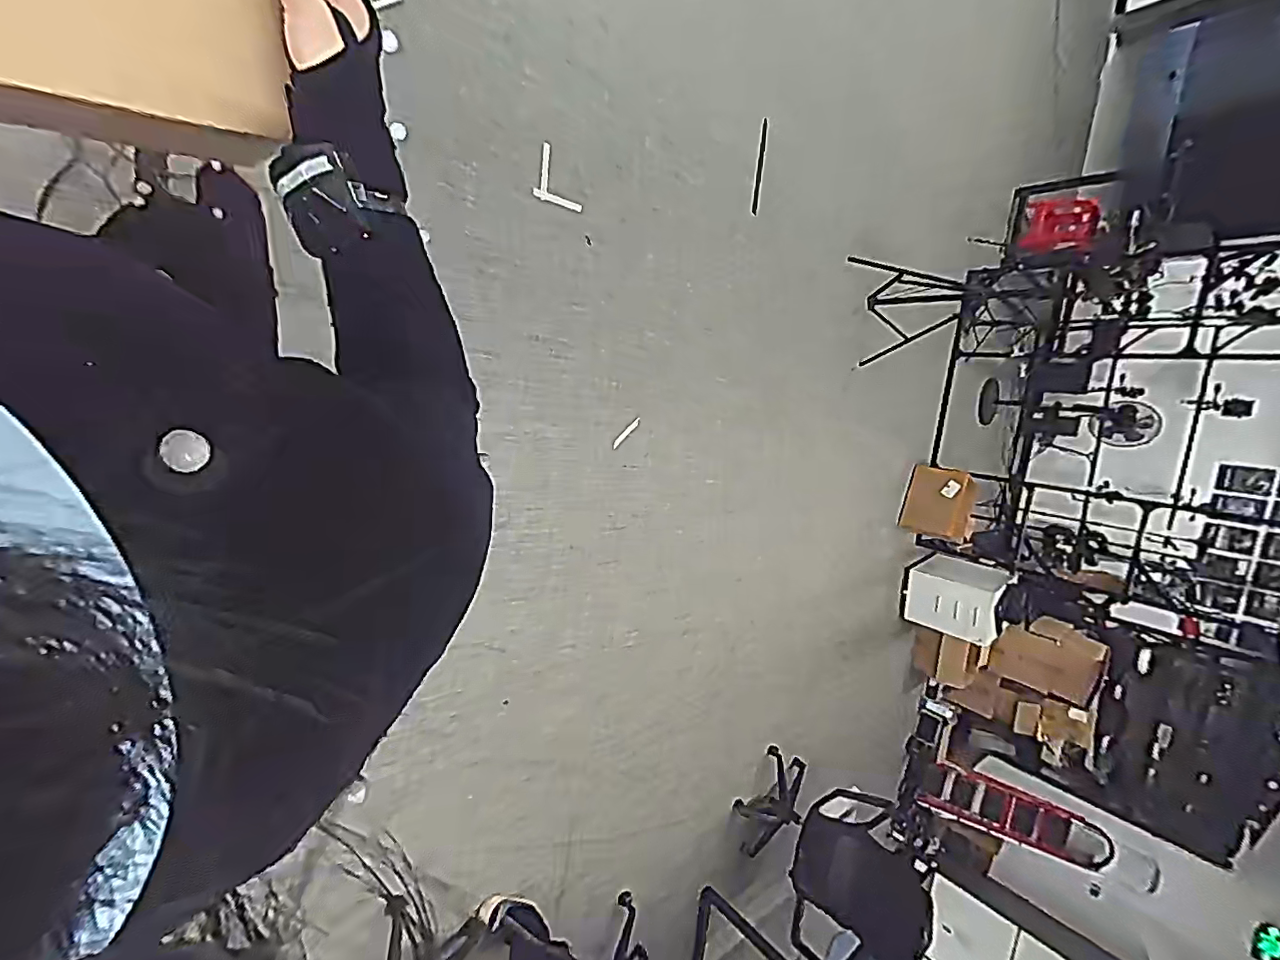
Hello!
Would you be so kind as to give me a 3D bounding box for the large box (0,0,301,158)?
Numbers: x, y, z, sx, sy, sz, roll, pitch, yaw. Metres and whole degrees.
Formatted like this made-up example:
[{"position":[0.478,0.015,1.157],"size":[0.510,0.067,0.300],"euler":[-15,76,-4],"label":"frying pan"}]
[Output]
[{"position":[-0.499,-0.432,0.359],"size":[0.408,0.320,0.320],"euler":[-11,116,-38],"label":"large box"}]
